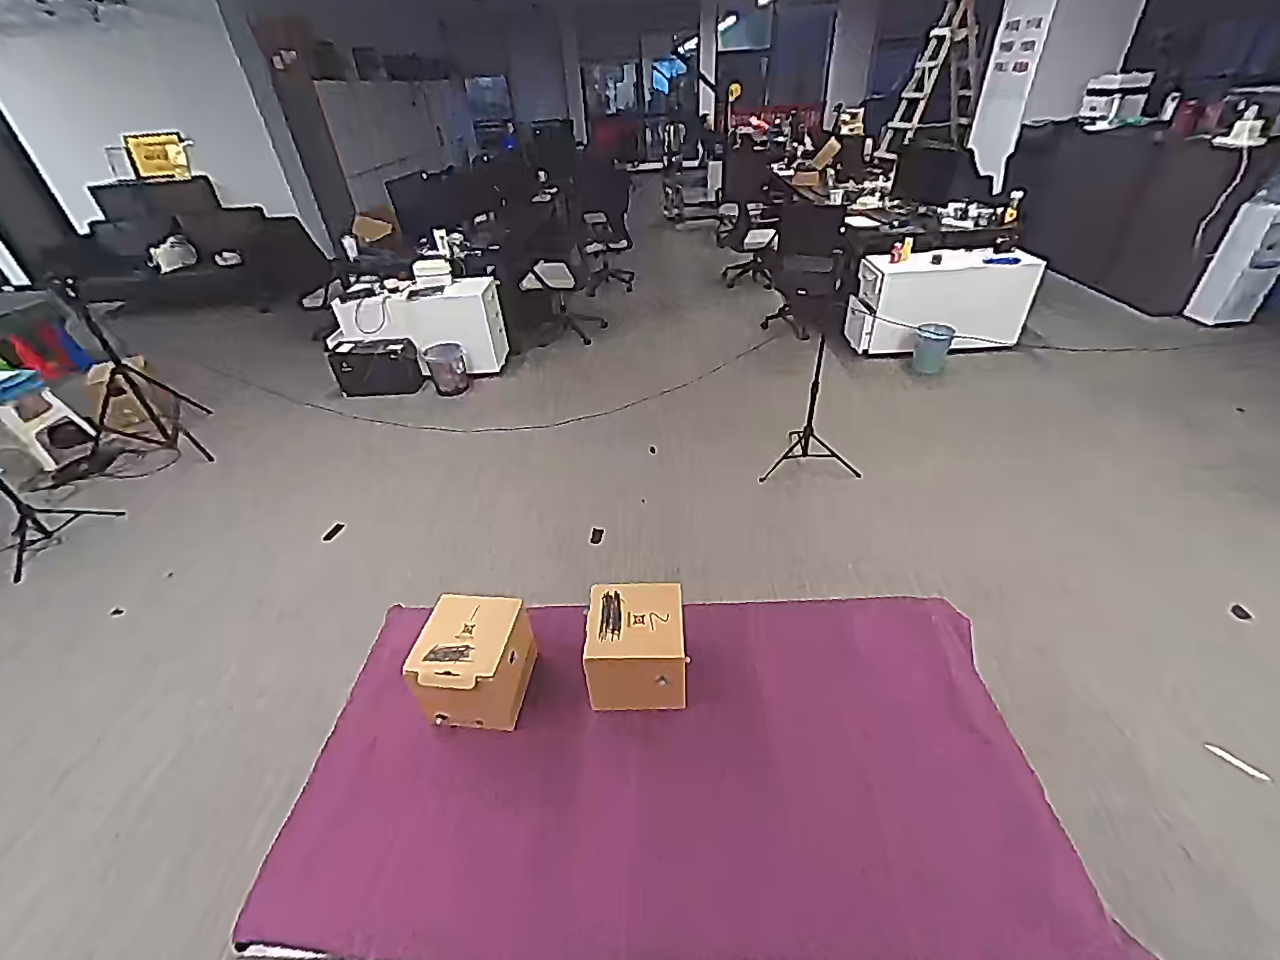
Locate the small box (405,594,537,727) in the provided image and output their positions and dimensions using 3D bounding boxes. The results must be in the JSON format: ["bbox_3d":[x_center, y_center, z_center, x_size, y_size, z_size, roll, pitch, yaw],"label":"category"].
[{"bbox_3d":[-0.303,0.339,1.017,0.168,0.176,0.179,2,37,7],"label":"small box"}]
